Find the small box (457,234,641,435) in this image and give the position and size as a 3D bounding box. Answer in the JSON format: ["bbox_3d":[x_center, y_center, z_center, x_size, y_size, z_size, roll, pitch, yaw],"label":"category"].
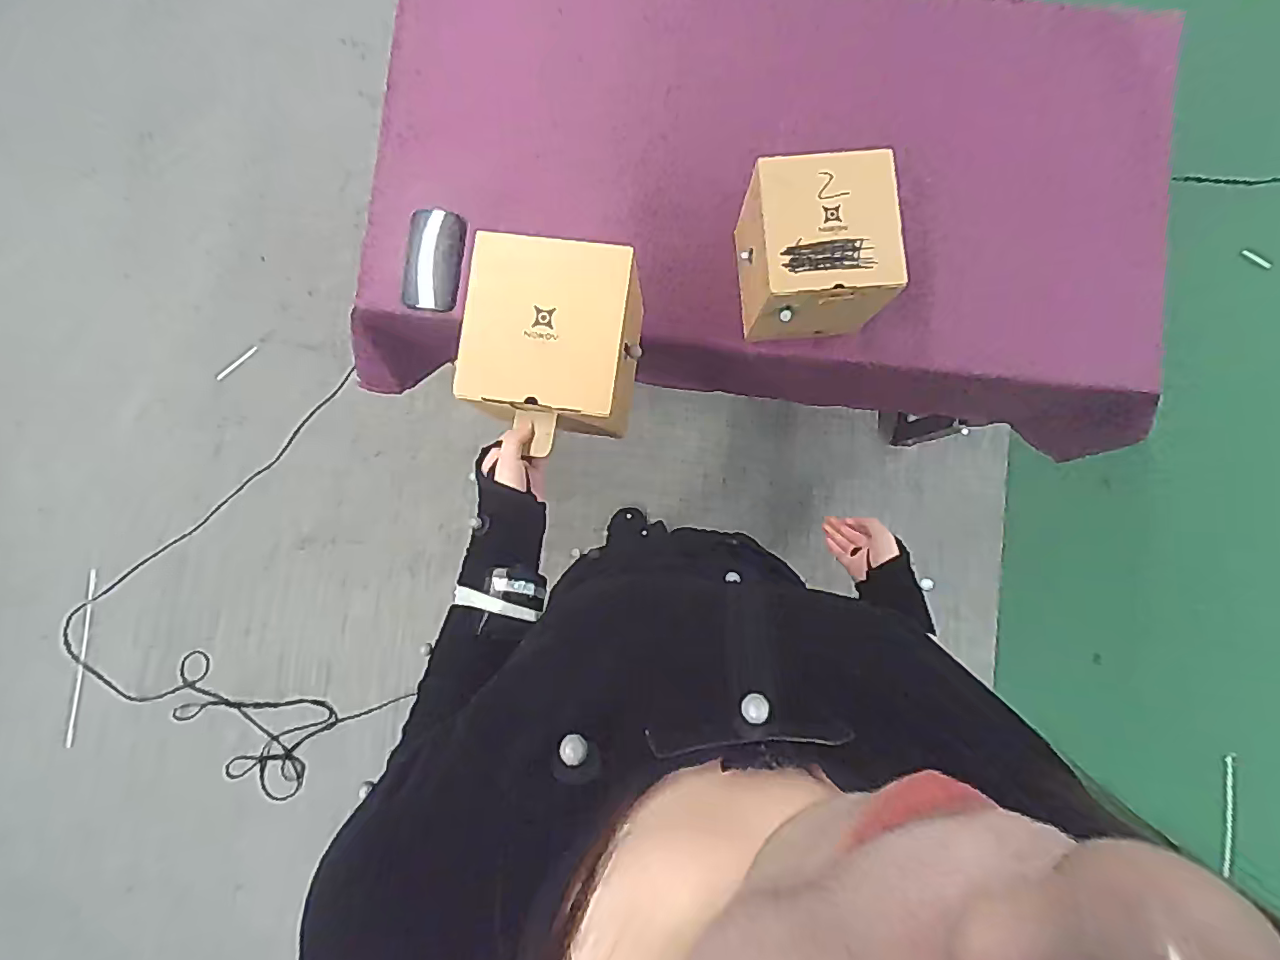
[{"bbox_3d":[-0.092,-0.157,0.634,0.168,0.176,0.179,8,89,4],"label":"small box"}]
